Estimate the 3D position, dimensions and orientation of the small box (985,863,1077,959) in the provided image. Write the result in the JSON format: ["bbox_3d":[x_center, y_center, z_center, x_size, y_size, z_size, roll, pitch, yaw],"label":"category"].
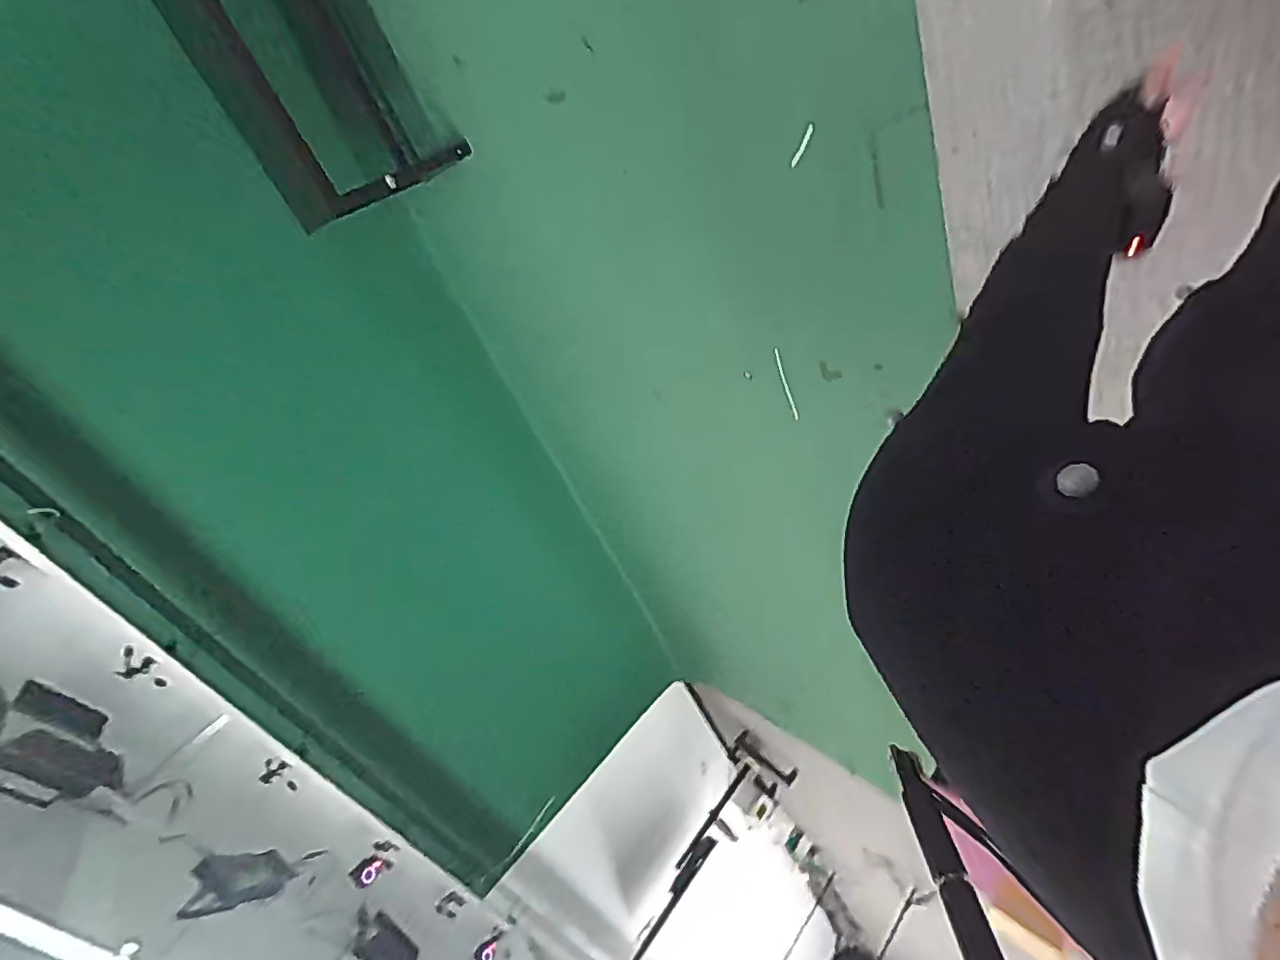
[{"bbox_3d":[1.133,1.260,1.572,0.179,0.176,0.168,15,138,46],"label":"small box"}]
